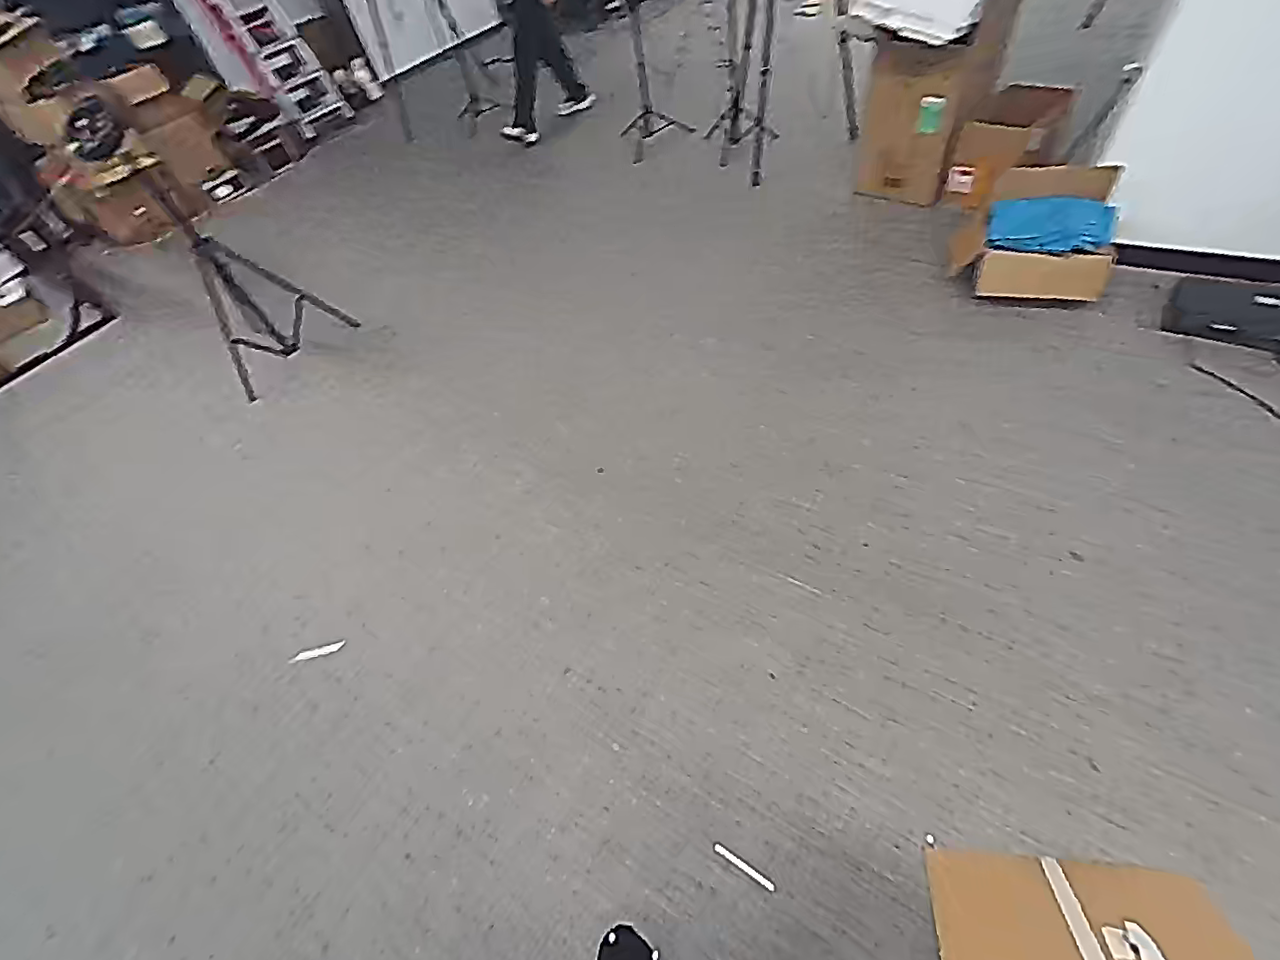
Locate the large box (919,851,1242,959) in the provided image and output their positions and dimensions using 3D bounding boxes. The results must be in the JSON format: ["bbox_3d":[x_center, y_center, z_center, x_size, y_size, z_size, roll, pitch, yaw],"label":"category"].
[{"bbox_3d":[0.520,0.699,0.582,0.320,0.408,0.320,-8,90,21],"label":"large box"}]
